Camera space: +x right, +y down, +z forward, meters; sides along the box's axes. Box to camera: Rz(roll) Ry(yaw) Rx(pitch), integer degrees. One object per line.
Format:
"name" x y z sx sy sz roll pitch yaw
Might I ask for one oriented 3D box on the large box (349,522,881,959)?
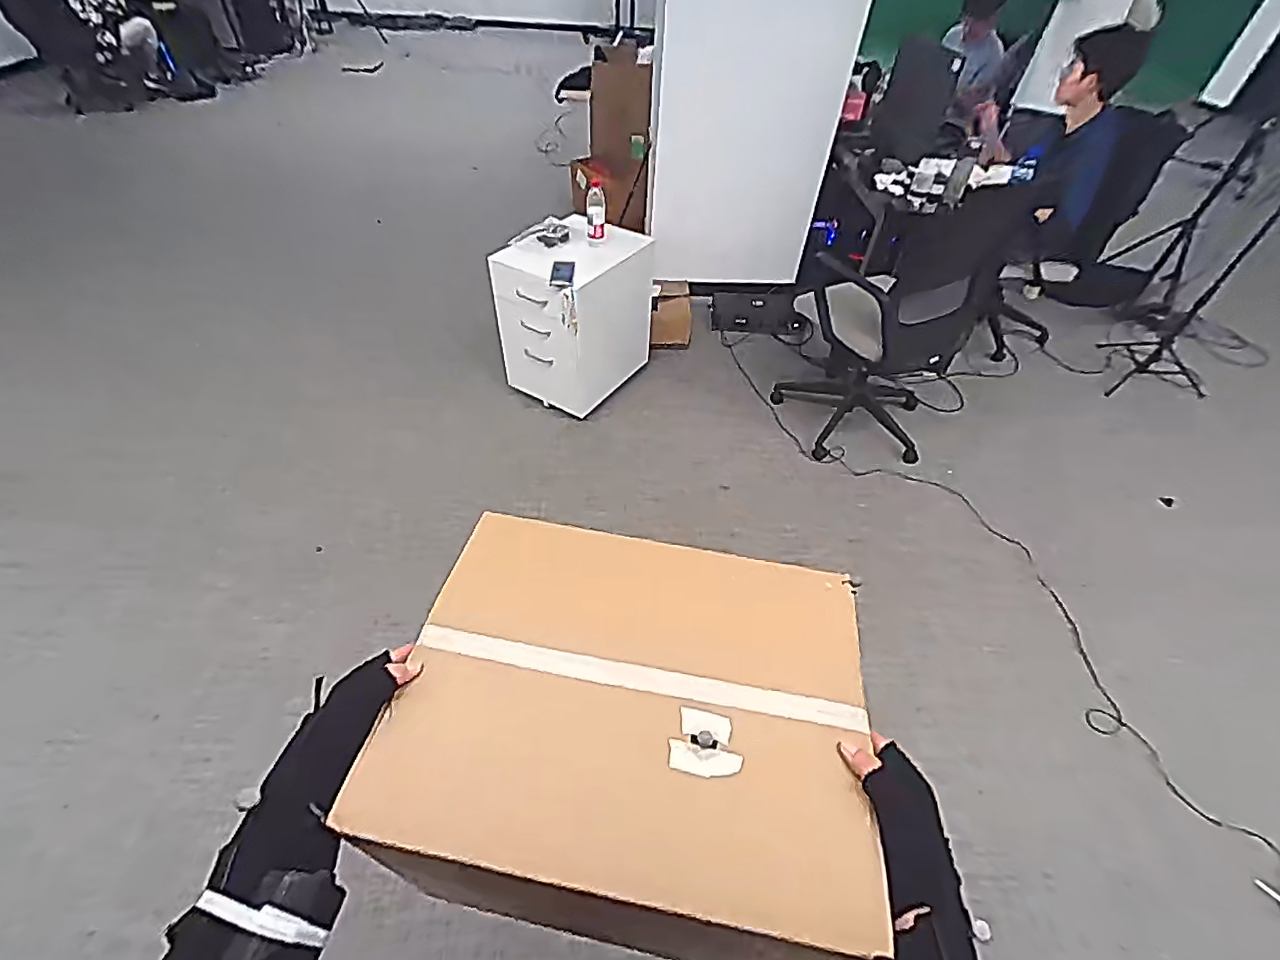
"large box" -0.011 0.285 0.598 0.408 0.320 0.320 10 46 5
